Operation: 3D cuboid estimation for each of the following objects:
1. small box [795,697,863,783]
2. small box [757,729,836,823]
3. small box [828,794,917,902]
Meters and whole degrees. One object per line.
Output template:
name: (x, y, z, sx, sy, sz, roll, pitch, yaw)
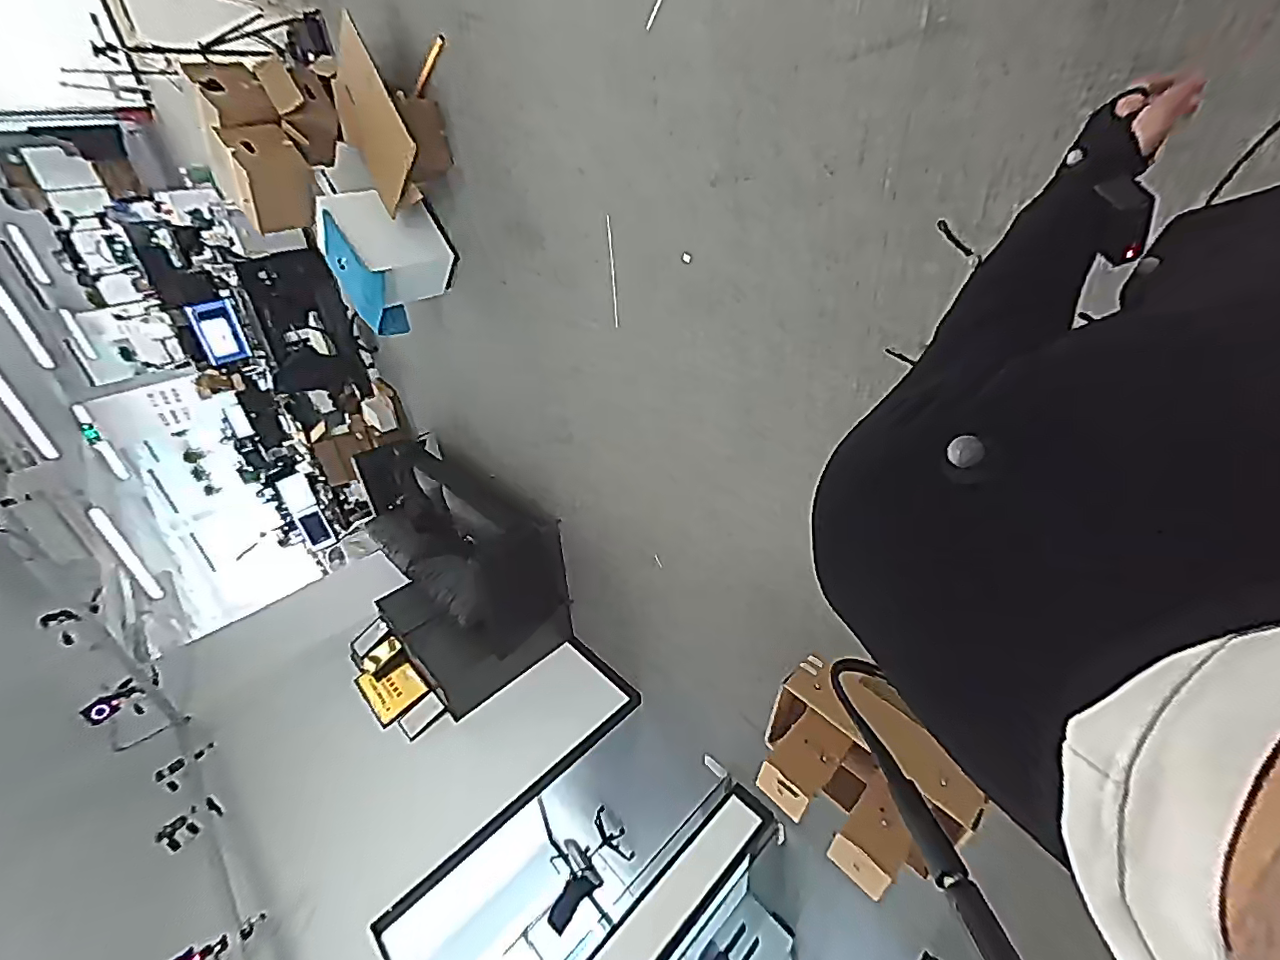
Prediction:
small box: (0.627, 0.879, 1.828, 0.168, 0.176, 0.179, 34, 137, 35)
small box: (0.506, 0.945, 1.738, 0.168, 0.176, 0.179, 35, 138, 34)
small box: (0.687, 1.079, 1.594, 0.168, 0.176, 0.179, 32, 137, 35)
